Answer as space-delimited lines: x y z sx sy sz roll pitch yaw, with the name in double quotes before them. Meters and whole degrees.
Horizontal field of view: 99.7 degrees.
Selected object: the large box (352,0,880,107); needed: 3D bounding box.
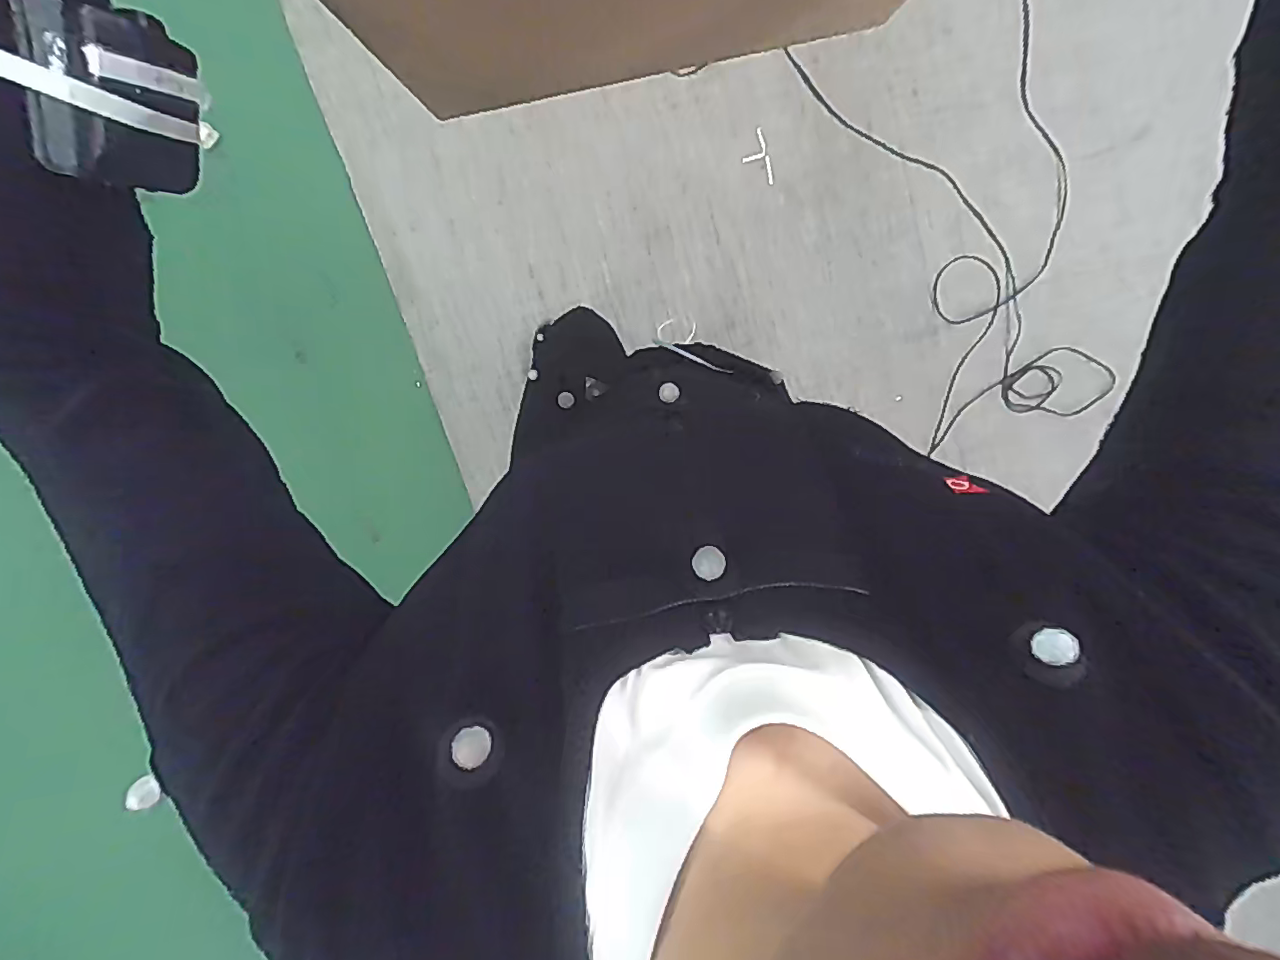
"large box" -0.009 -0.464 0.289 0.408 0.320 0.320 -12 109 0
